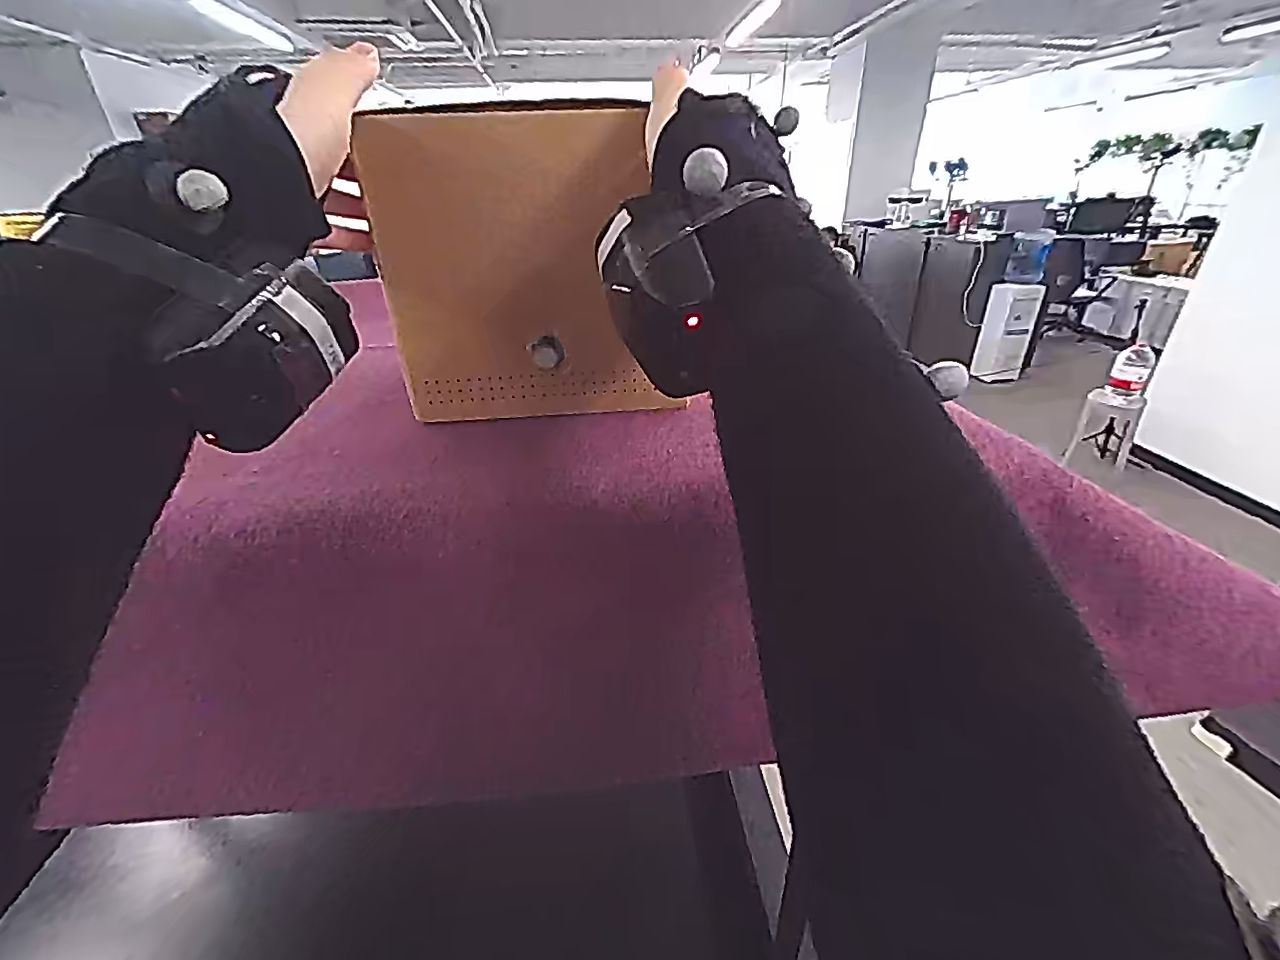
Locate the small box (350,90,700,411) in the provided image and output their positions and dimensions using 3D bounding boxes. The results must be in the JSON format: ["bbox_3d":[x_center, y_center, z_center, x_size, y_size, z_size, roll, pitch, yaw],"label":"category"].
[{"bbox_3d":[-0.061,-0.154,0.375,0.179,0.176,0.168,-3,27,-4],"label":"small box"}]
